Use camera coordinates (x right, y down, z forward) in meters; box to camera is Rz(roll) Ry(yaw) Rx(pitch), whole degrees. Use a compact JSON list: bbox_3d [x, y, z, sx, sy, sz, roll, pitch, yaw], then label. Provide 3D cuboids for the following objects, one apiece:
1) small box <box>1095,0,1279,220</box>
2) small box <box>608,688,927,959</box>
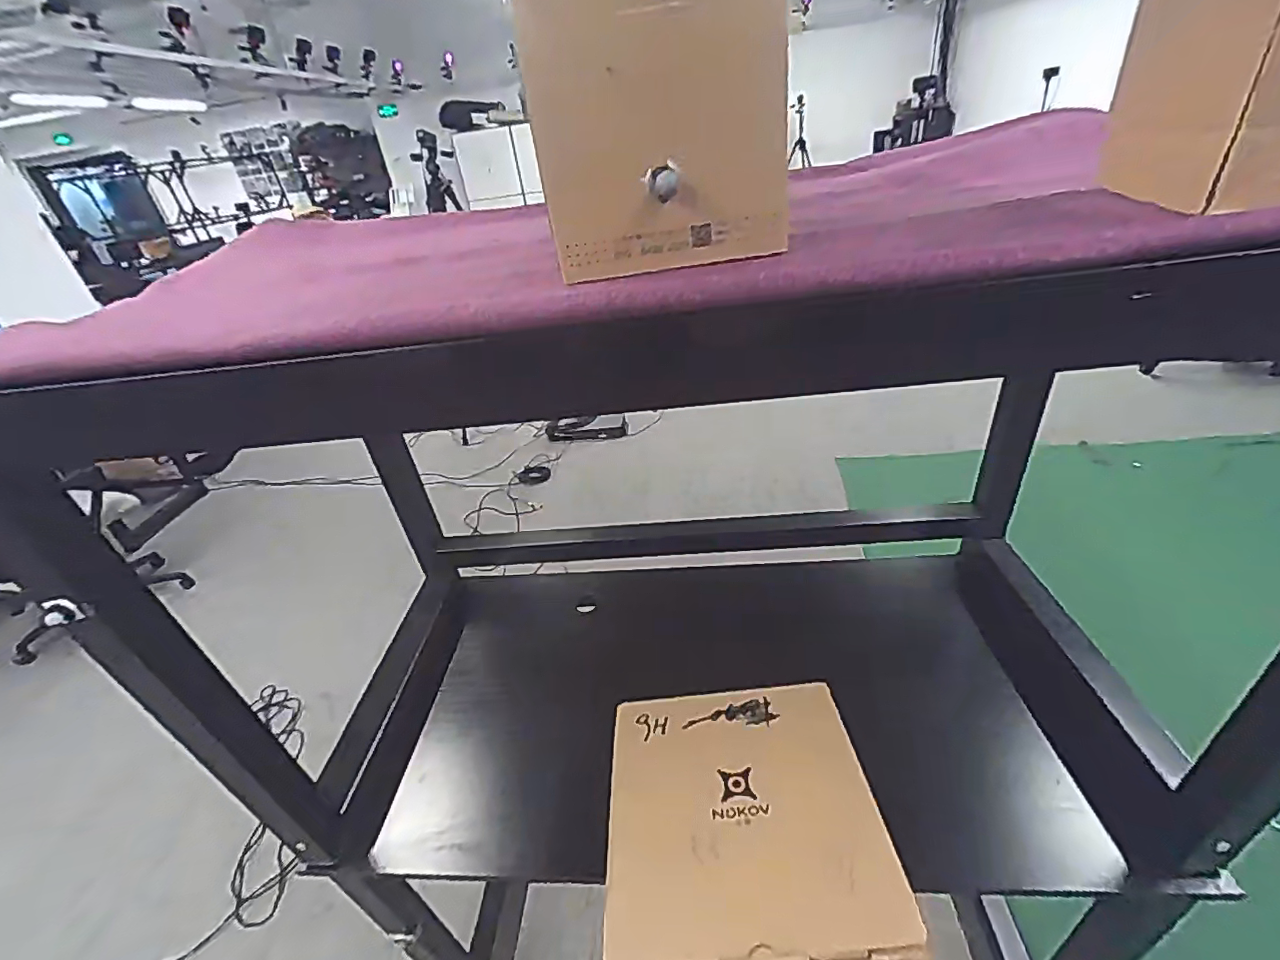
[{"bbox_3d":[0.421,-0.263,0.323,0.168,0.176,0.179,2,36,16],"label":"small box"},{"bbox_3d":[0.076,0.280,0.379,0.168,0.176,0.179,-7,25,4],"label":"small box"}]
